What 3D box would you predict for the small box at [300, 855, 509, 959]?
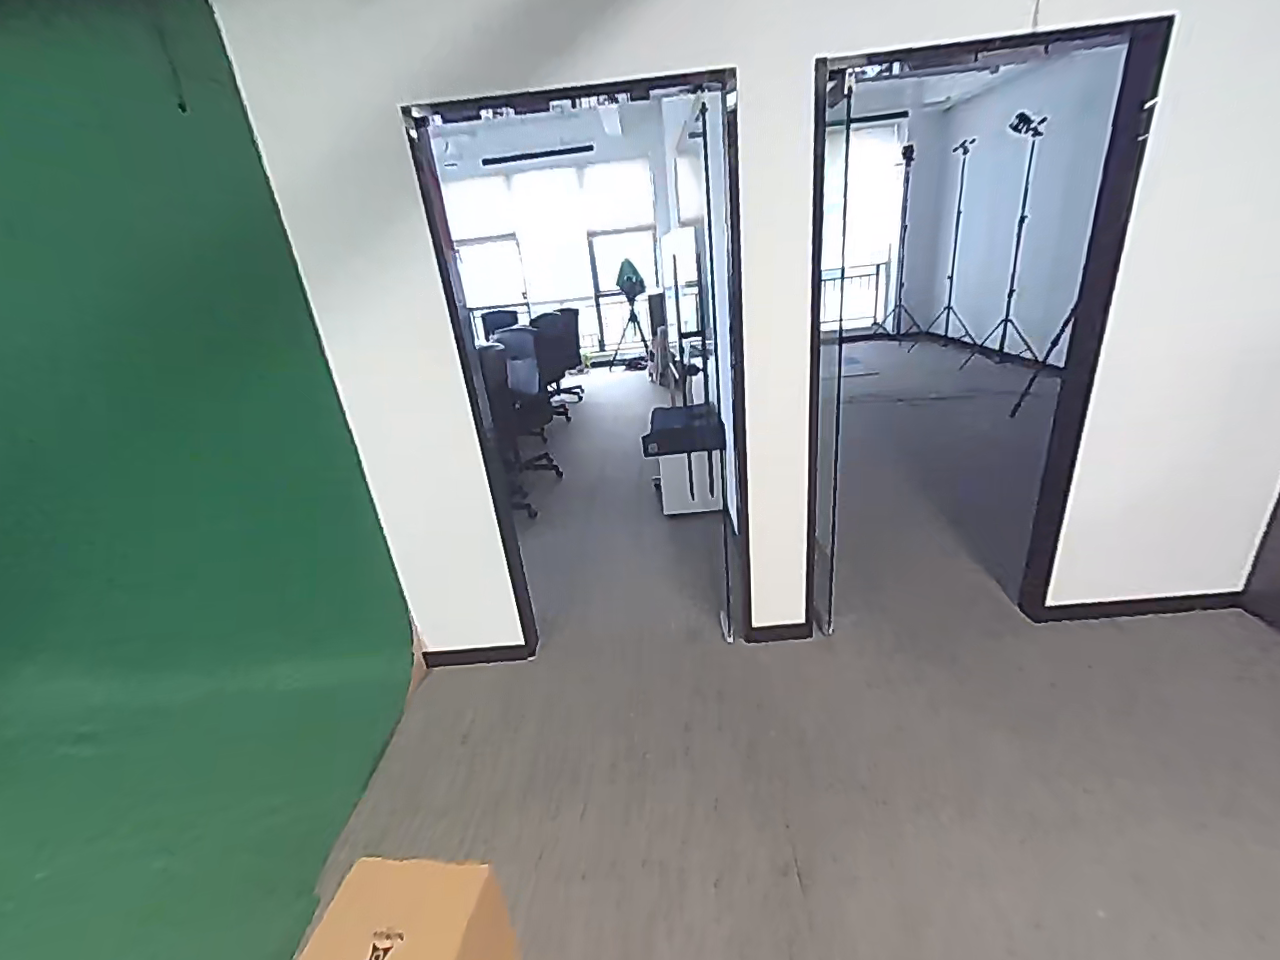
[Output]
[{"bbox_3d":[-0.251,0.548,0.578,0.168,0.176,0.179,-3,21,9],"label":"small box"}]
